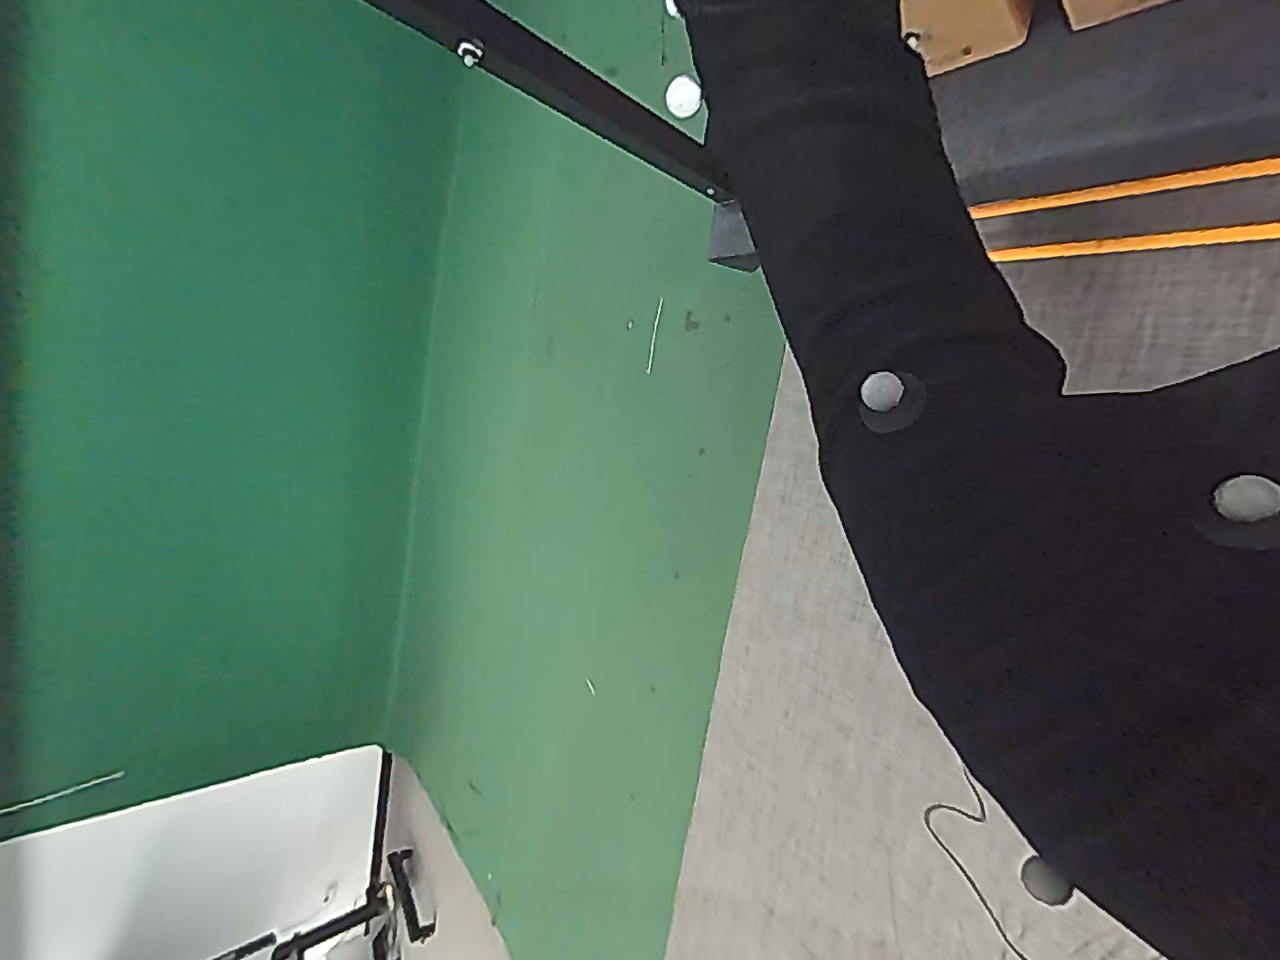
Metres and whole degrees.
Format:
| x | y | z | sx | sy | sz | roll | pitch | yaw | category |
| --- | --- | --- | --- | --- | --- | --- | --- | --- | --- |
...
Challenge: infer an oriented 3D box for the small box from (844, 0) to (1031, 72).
| x | y | z | sx | sy | sz | roll | pitch | yaw | category |
| --- | --- | --- | --- | --- | --- | --- | --- | --- | --- |
| 0.389 | -0.661 | 0.682 | 0.168 | 0.176 | 0.179 | 17 | 100 | 47 | small box |
